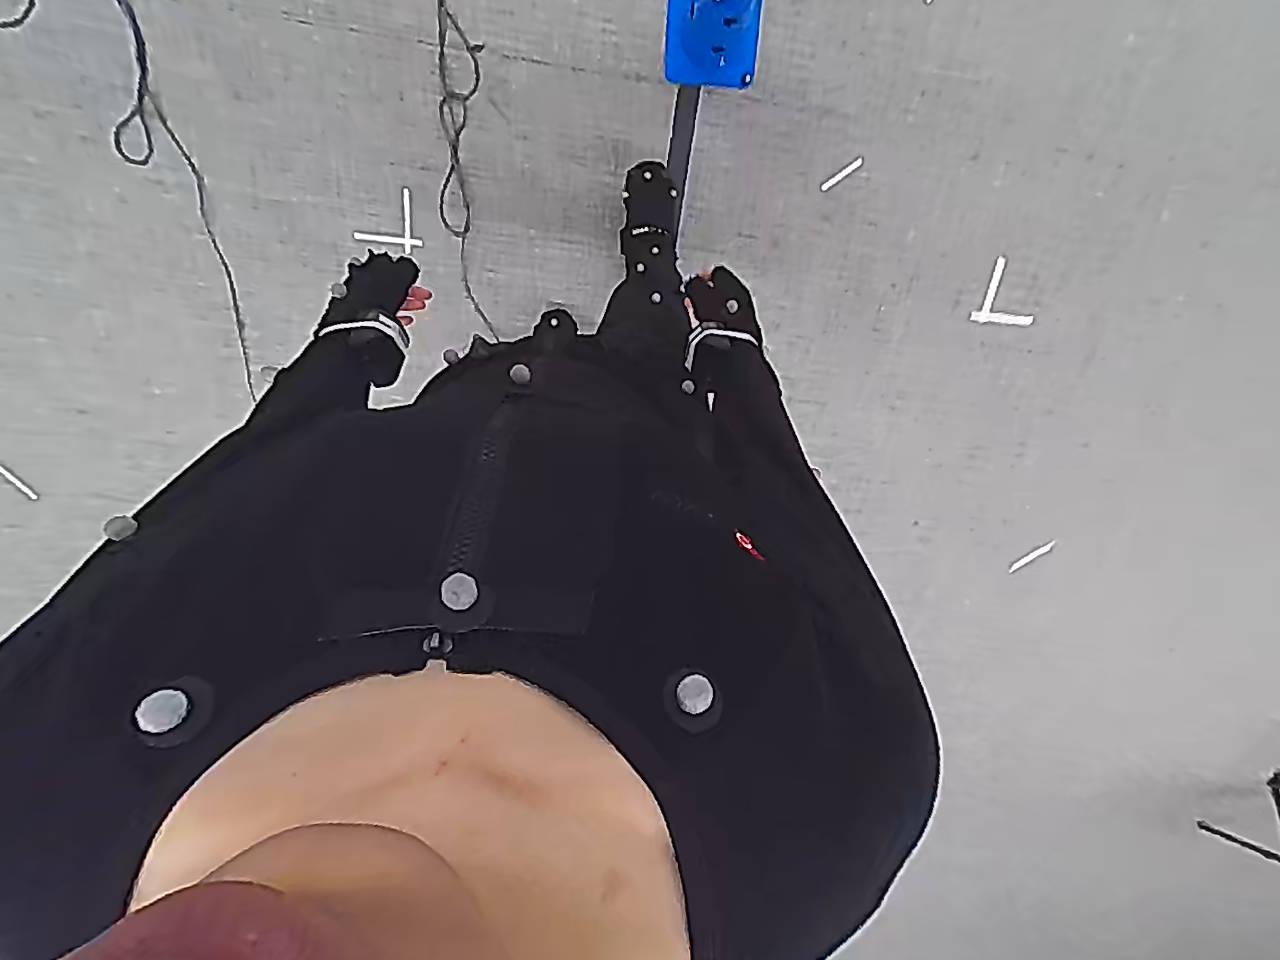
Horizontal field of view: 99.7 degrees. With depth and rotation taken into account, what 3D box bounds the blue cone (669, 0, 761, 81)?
[{"bbox_3d":[0.173,-0.900,0.994,0.192,0.380,0.193,2,113,-7],"label":"blue cone"}]
